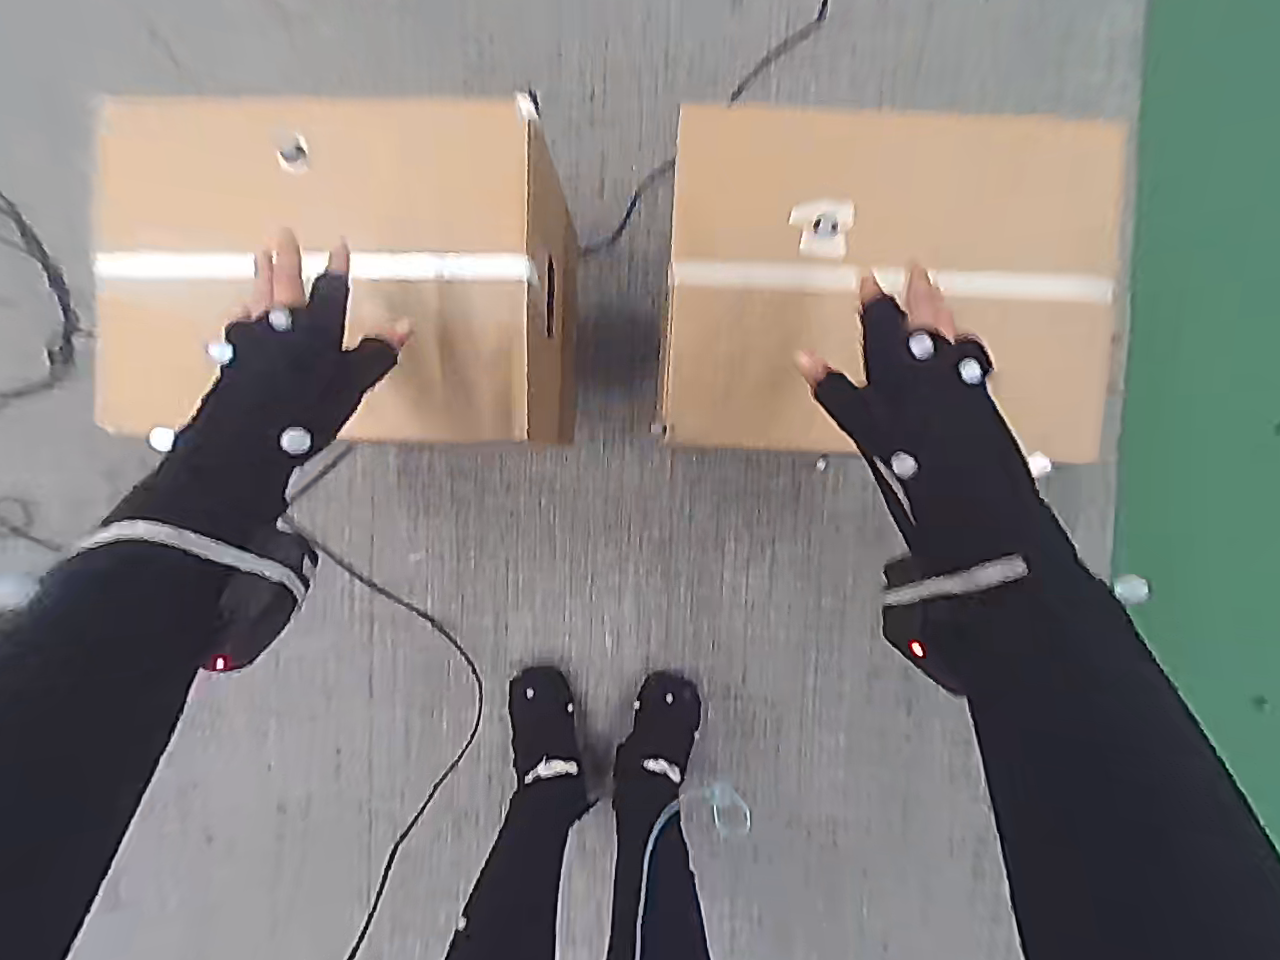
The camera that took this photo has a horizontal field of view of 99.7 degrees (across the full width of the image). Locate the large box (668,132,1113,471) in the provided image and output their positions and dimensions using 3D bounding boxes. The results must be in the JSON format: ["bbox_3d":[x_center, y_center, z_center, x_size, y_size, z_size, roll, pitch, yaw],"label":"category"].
[{"bbox_3d":[0.245,-0.181,0.669,0.408,0.320,0.320,4,92,2],"label":"large box"}]
